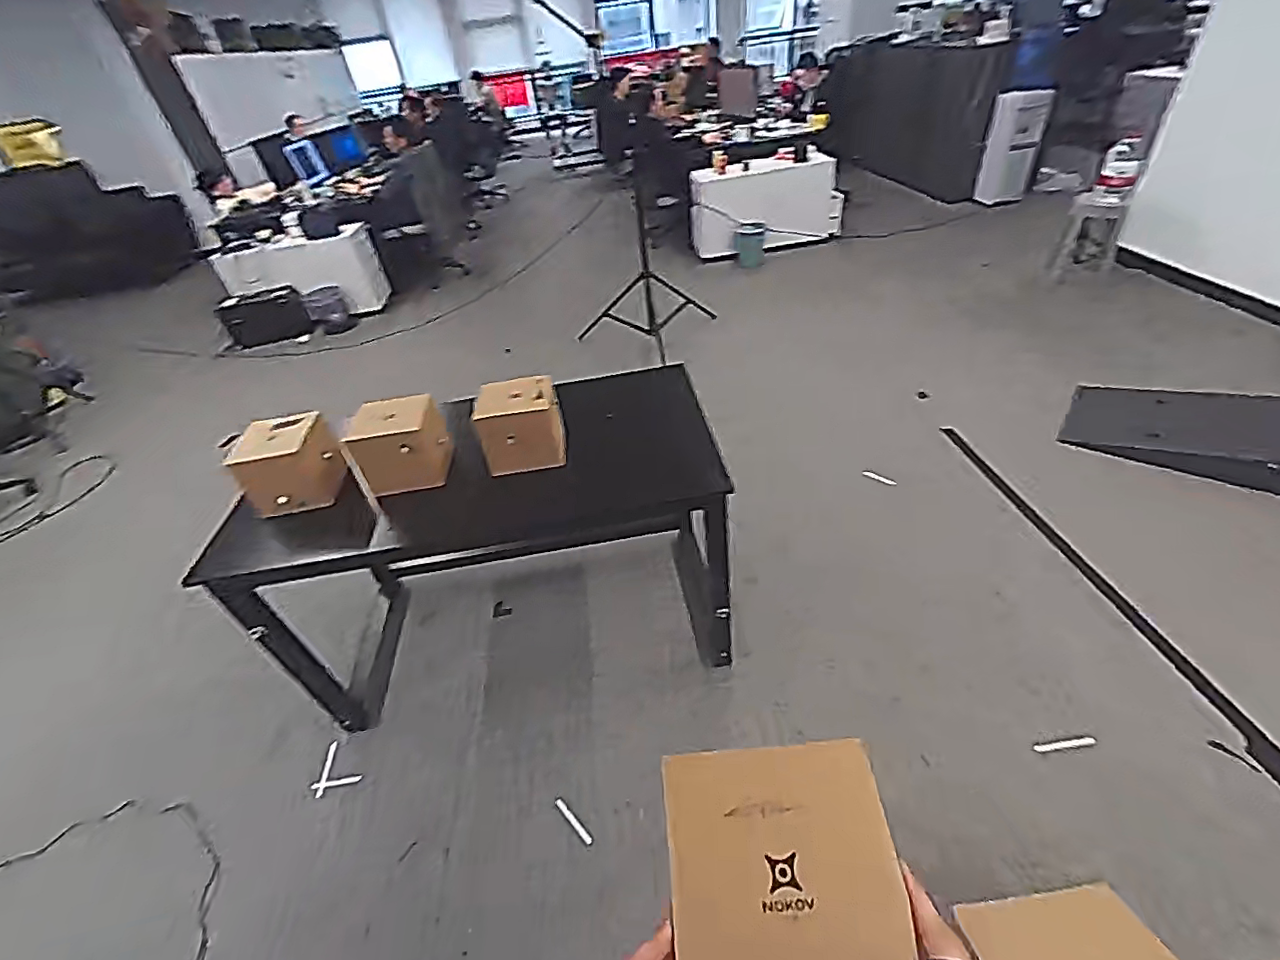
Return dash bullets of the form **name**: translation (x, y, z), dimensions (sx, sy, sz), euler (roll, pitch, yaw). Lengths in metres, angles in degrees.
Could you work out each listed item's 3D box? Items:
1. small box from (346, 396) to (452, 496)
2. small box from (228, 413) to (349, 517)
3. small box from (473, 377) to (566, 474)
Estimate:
- **small box**: translation (-0.577, -0.082, 1.325), dimensions (0.179, 0.176, 0.168), euler (-10, 39, -2)
- **small box**: translation (-0.840, -0.037, 1.318), dimensions (0.168, 0.176, 0.179), euler (-11, 40, -3)
- **small box**: translation (-0.288, -0.131, 1.333), dimensions (0.179, 0.176, 0.168), euler (-9, 39, 0)
